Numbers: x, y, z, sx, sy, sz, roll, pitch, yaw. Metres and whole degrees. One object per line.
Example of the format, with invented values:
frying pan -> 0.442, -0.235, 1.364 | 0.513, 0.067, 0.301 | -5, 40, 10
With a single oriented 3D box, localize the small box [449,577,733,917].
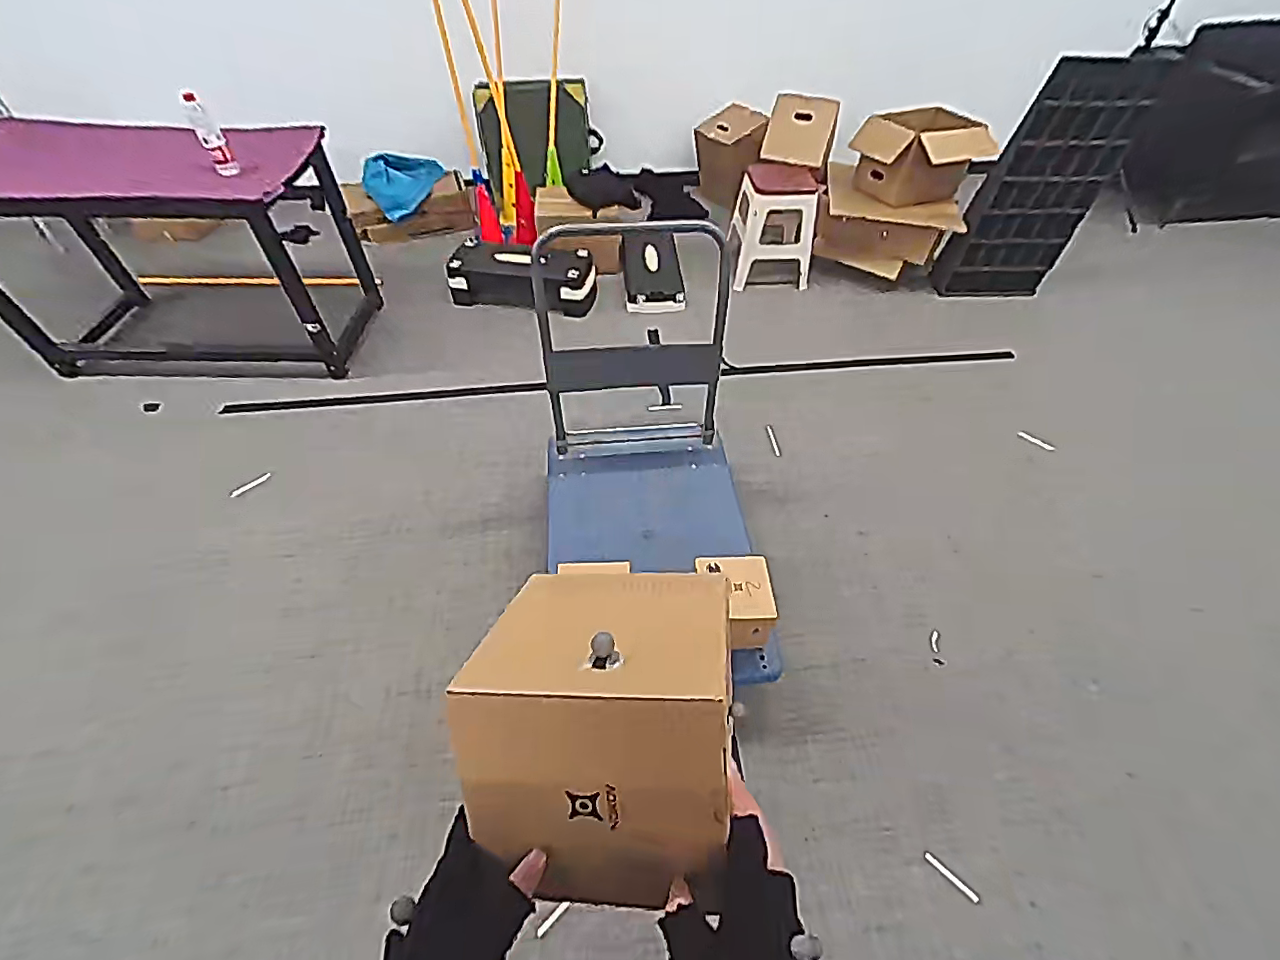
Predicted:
small box -> -0.018, 0.185, 0.420 | 0.179, 0.168, 0.176 | -2, 16, 9

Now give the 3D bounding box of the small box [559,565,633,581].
small box -> -0.105, 0.320, 1.314 | 0.179, 0.176, 0.168 | -1, 50, -1
